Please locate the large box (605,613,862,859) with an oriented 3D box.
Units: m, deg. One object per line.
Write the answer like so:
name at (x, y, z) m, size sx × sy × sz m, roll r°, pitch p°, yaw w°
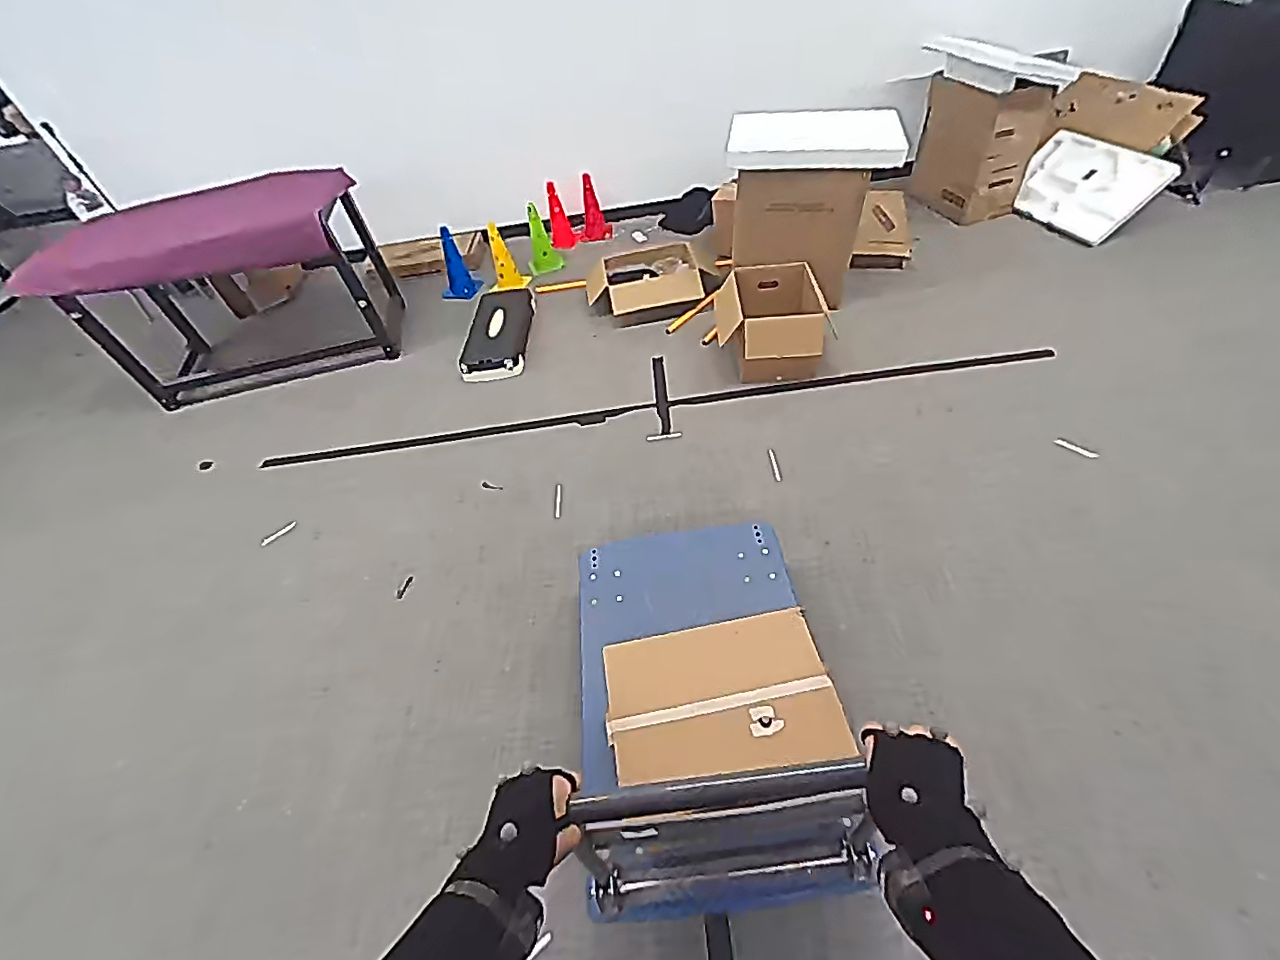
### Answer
large box at (0.163, 0.516, 1.088) m, size 0.408 × 0.320 × 0.320 m, roll -11°, pitch 48°, yaw -2°
